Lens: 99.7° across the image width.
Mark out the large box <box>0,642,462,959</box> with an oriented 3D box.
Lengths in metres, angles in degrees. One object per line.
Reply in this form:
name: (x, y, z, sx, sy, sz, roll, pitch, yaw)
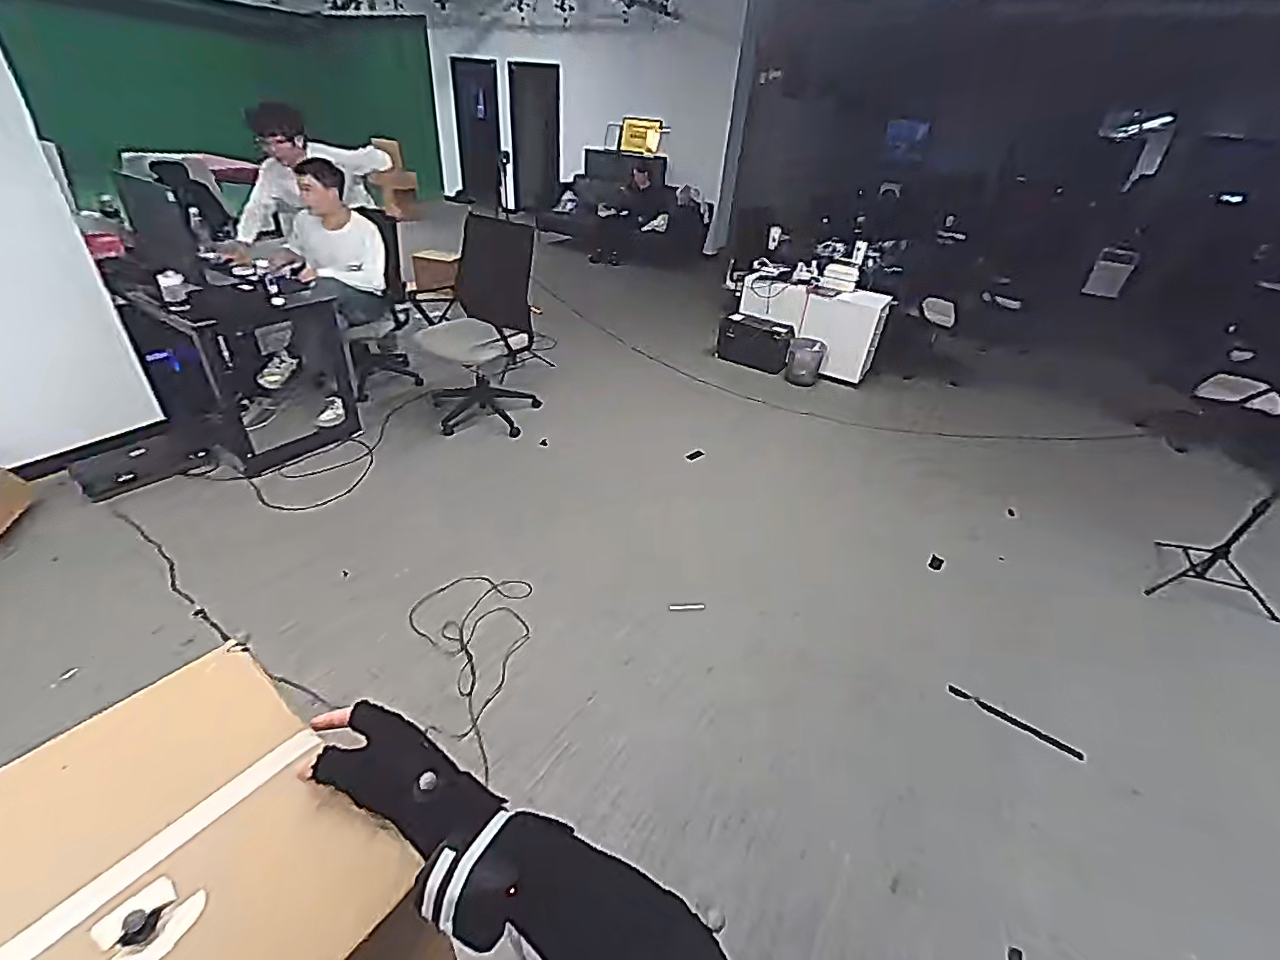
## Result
large box: (-0.414, 0.431, 0.442, 0.320, 0.320, 0.408, 28, 40, 26)
